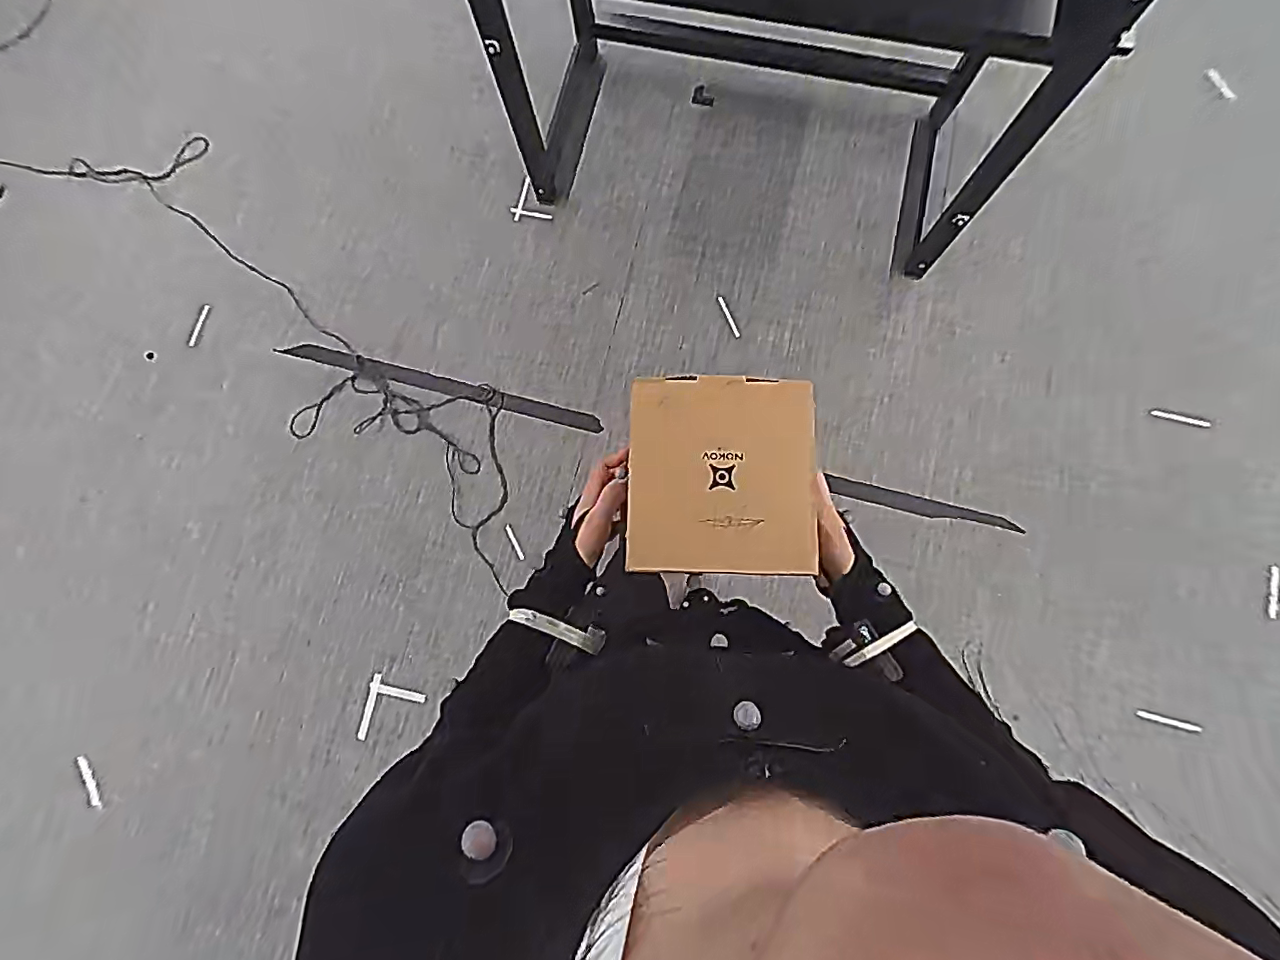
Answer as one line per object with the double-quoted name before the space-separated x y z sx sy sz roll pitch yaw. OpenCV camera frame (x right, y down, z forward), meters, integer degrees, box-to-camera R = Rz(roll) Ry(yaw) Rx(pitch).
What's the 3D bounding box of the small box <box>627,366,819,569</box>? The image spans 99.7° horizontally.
"small box" 0.073 -0.002 0.548 0.168 0.176 0.179 1 81 1
